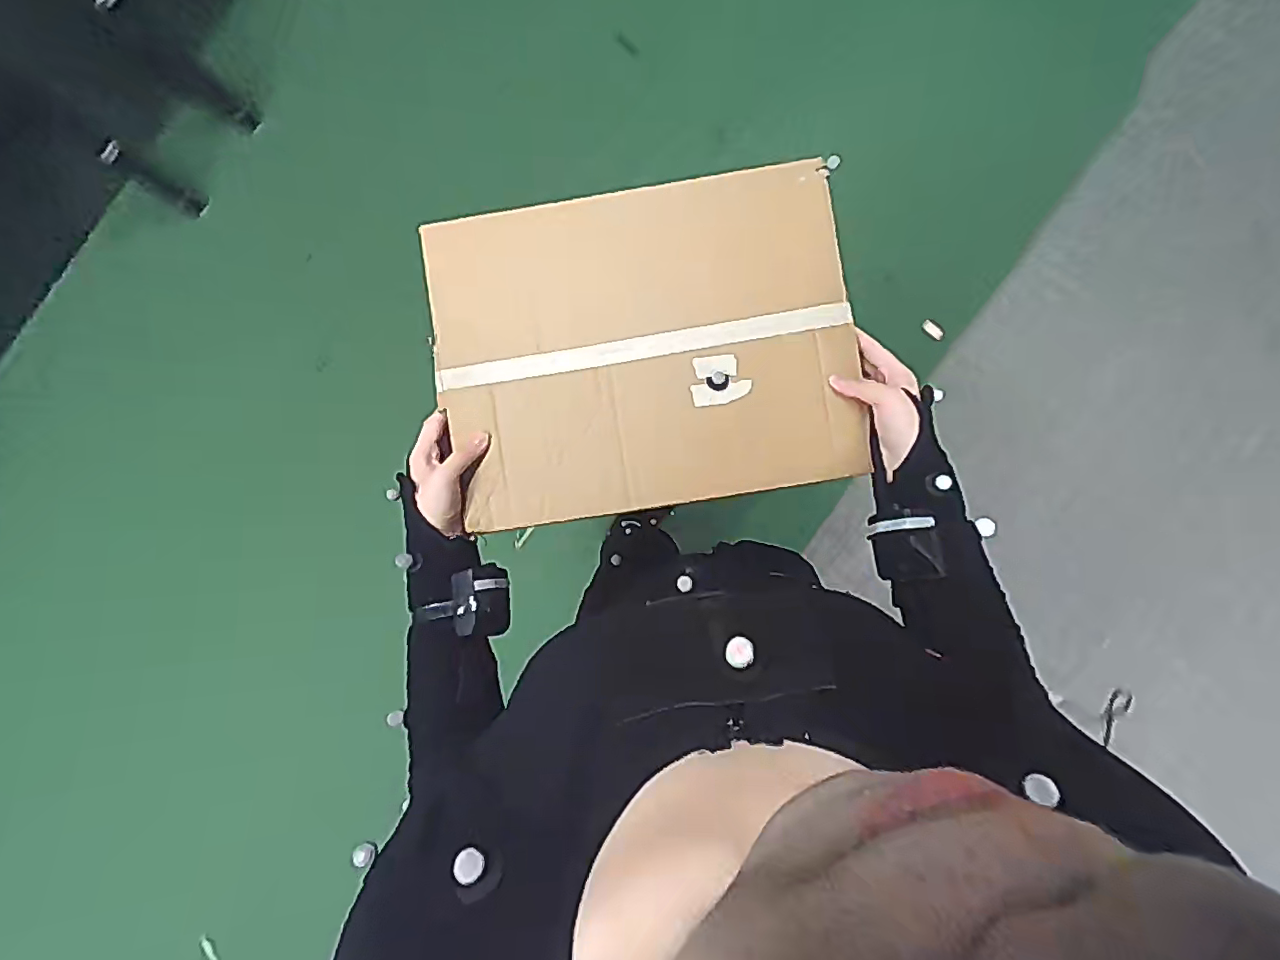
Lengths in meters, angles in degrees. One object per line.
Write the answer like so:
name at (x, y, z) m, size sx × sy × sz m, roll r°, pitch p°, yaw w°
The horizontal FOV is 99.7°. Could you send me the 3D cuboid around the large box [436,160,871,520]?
large box at (0.012, -0.134, 0.684) m, size 0.408 × 0.320 × 0.320 m, roll -8°, pitch 89°, yaw 1°
